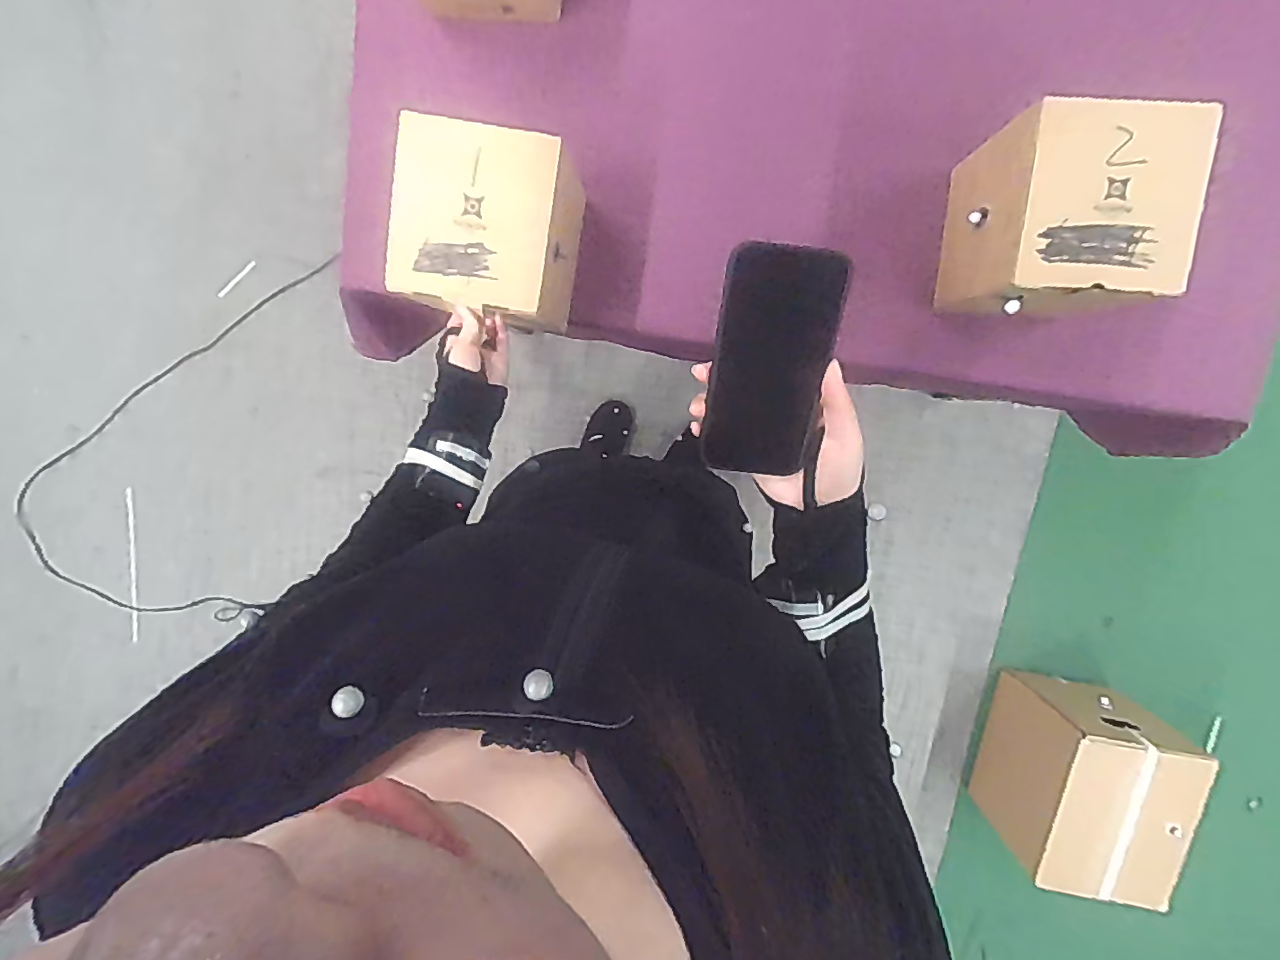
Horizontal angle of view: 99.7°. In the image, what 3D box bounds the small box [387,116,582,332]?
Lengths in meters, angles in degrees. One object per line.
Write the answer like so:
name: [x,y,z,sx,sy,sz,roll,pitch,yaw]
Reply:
small box: [-0.168,-0.279,0.631,0.168,0.176,0.179,10,98,1]
